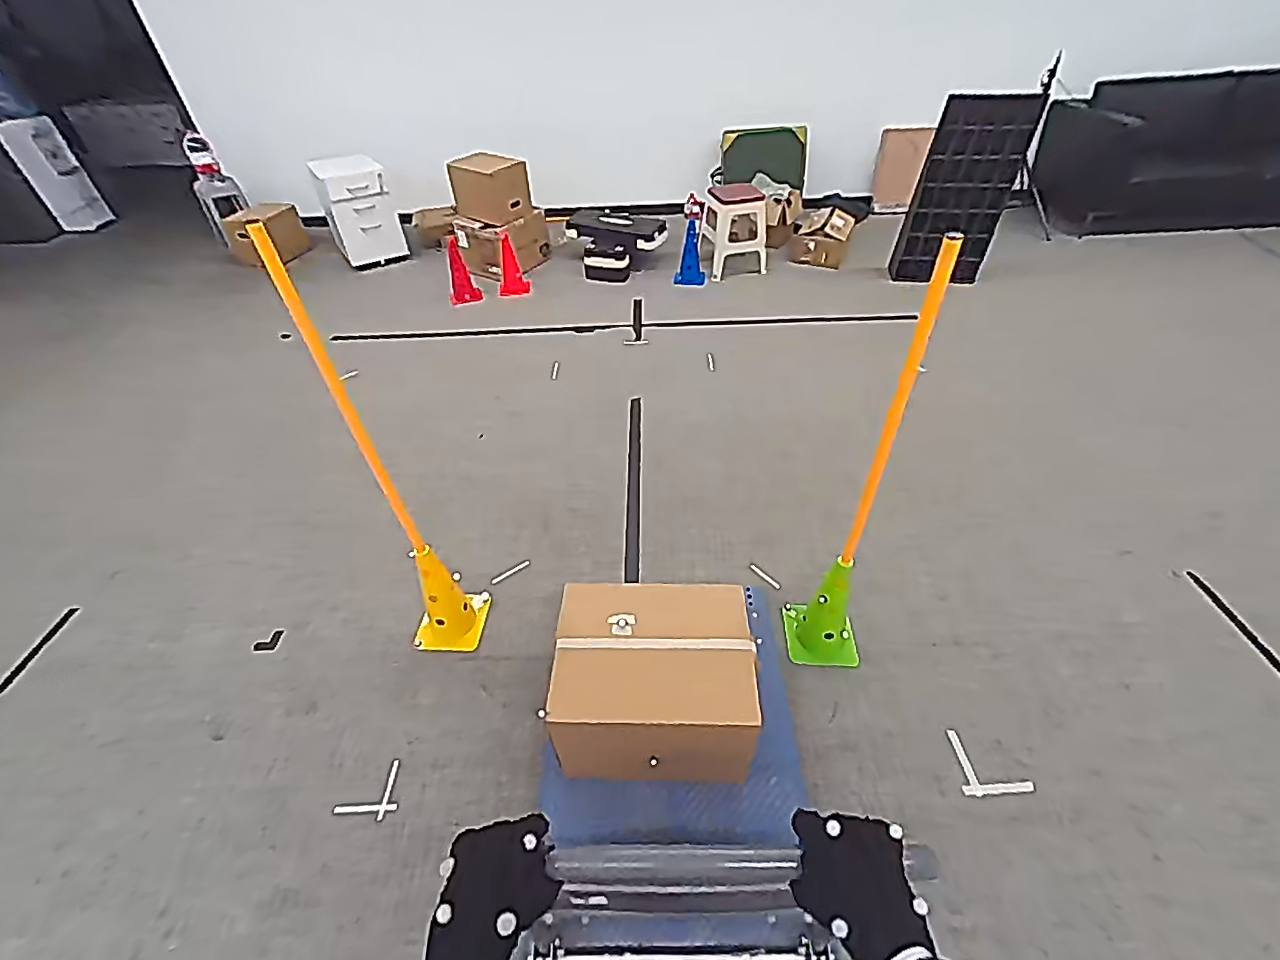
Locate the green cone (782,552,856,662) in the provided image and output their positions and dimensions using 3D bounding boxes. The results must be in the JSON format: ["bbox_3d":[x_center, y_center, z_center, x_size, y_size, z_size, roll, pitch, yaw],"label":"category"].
[{"bbox_3d":[0.539,0.337,1.531,0.202,0.368,0.200,2,44,3],"label":"green cone"}]

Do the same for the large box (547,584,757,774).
[{"bbox_3d":[0.031,0.453,1.224,0.408,0.320,0.320,-1,44,3],"label":"large box"}]
